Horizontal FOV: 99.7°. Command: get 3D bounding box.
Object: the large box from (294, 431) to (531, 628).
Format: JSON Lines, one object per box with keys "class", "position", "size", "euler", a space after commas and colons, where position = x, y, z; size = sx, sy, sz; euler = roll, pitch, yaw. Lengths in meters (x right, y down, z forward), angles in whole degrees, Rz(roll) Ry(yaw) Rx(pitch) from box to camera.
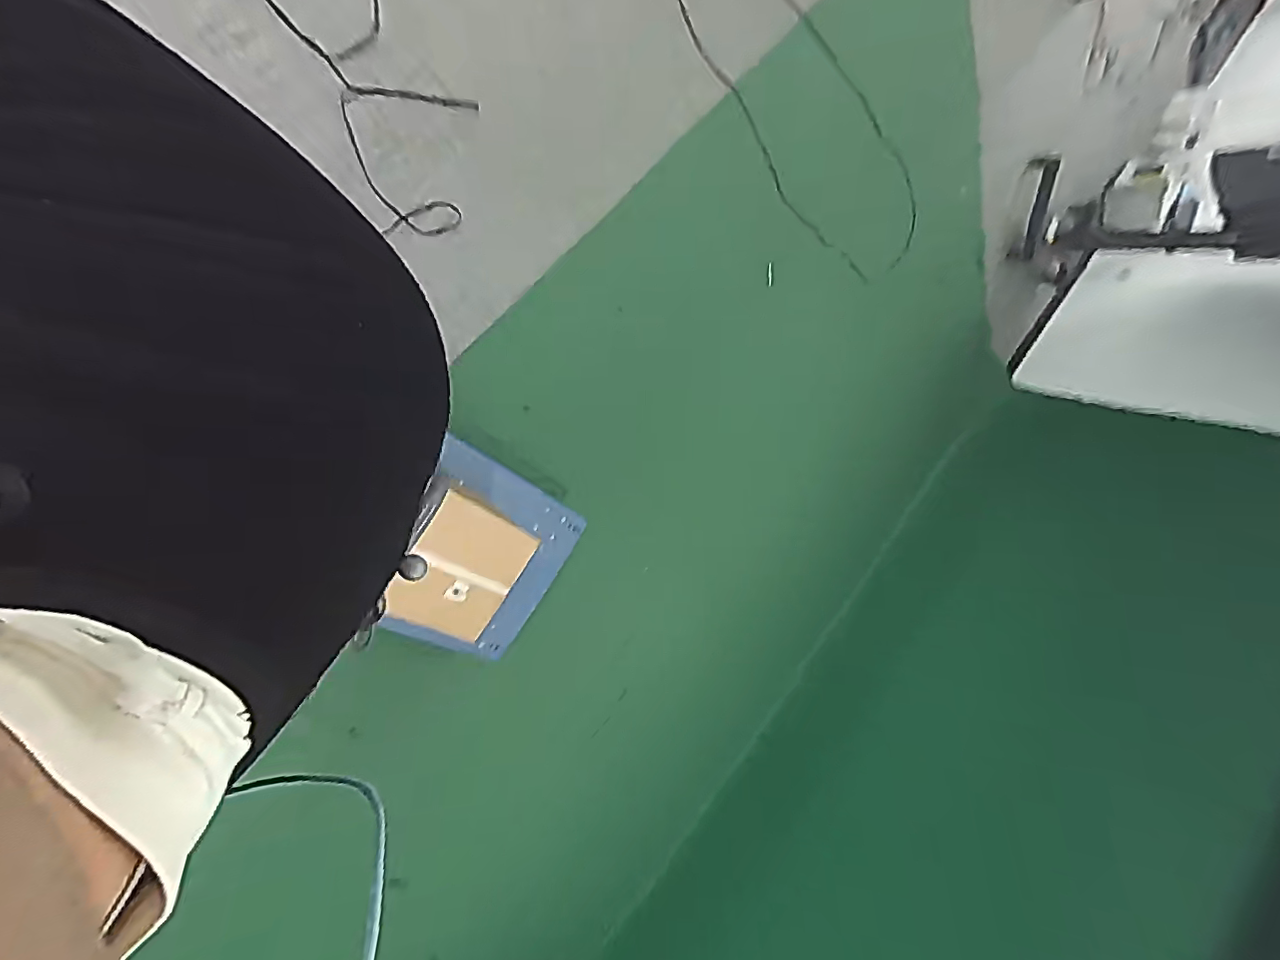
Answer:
{"class": "large box", "position": [-0.575, 0.127, 1.384], "size": [0.320, 0.320, 0.408], "euler": [-56, 135, -6]}
